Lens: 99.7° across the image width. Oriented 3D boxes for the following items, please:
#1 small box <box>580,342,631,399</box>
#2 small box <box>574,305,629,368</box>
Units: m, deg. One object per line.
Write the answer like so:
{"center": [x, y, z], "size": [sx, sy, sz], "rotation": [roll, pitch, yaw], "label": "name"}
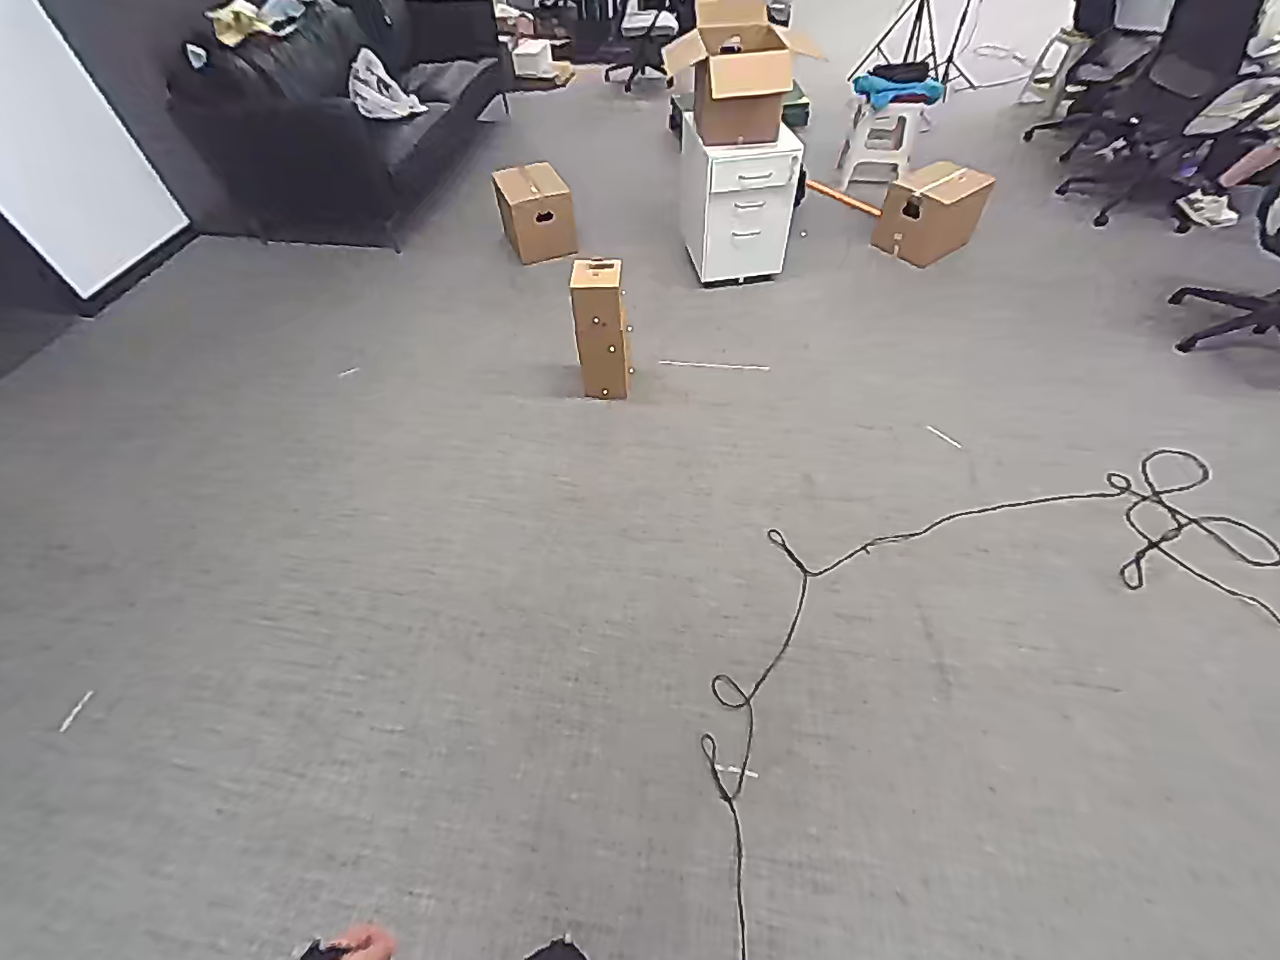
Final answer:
{"center": [-0.131, -0.441, 2.161], "size": [0.179, 0.176, 0.168], "rotation": [4, 51, 6], "label": "small box"}
{"center": [-0.139, -0.535, 2.028], "size": [0.179, 0.176, 0.168], "rotation": [1, 50, 6], "label": "small box"}
